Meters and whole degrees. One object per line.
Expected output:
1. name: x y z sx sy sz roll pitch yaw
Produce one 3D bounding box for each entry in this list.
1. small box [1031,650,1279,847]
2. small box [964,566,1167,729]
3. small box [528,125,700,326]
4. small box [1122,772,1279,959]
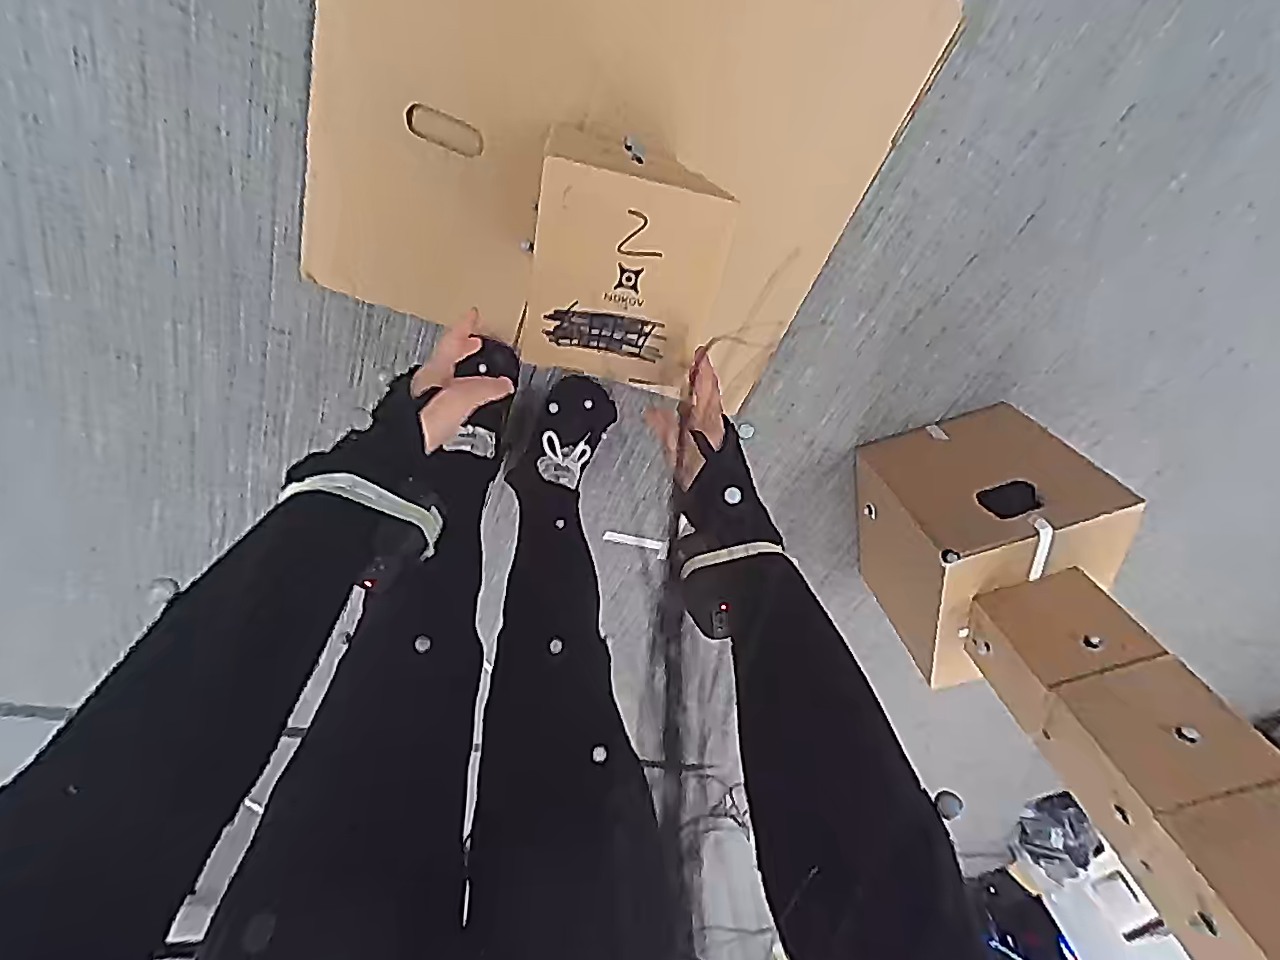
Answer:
1. small box: 0.691 0.362 0.741 0.179 0.176 0.168 -19 128 3
2. small box: 0.664 0.264 0.870 0.179 0.176 0.168 -18 128 4
3. small box: -0.043 -0.319 0.671 0.168 0.176 0.179 8 125 -14
4. small box: 0.714 0.463 0.615 0.179 0.176 0.168 -19 128 4
